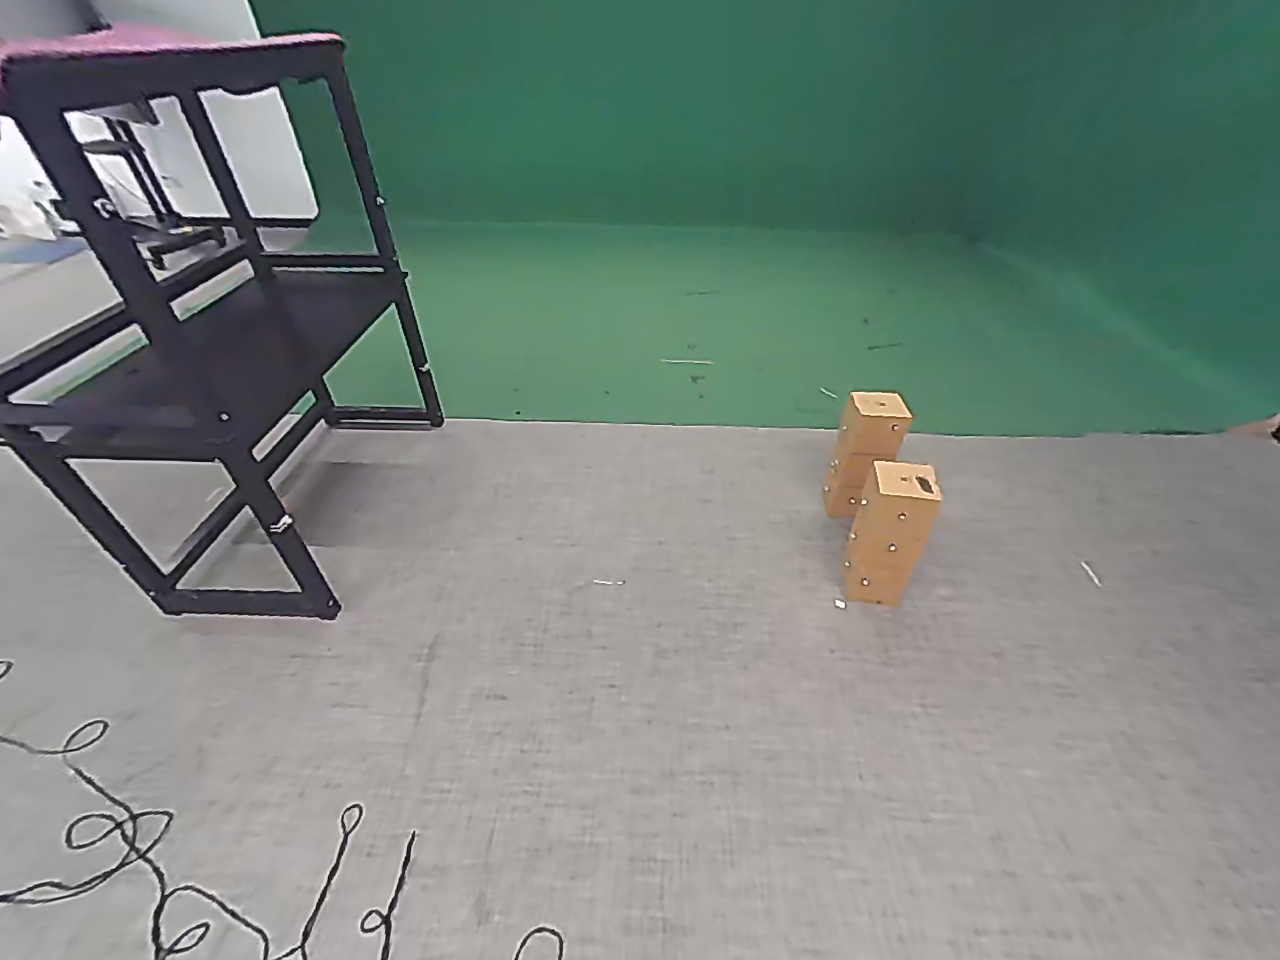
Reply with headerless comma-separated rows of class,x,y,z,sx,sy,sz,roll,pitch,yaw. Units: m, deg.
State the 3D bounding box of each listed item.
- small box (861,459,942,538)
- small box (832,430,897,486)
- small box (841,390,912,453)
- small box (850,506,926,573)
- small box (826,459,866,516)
small box,0.797,0.060,1.666,0.179,0.176,0.168,7,41,10
small box,0.860,-0.088,2.086,0.179,0.176,0.168,2,40,3
small box,0.857,-0.212,1.976,0.179,0.176,0.168,3,40,3
small box,0.806,0.184,1.773,0.179,0.176,0.168,6,42,8
small box,0.861,0.032,2.195,0.179,0.176,0.168,4,41,5
